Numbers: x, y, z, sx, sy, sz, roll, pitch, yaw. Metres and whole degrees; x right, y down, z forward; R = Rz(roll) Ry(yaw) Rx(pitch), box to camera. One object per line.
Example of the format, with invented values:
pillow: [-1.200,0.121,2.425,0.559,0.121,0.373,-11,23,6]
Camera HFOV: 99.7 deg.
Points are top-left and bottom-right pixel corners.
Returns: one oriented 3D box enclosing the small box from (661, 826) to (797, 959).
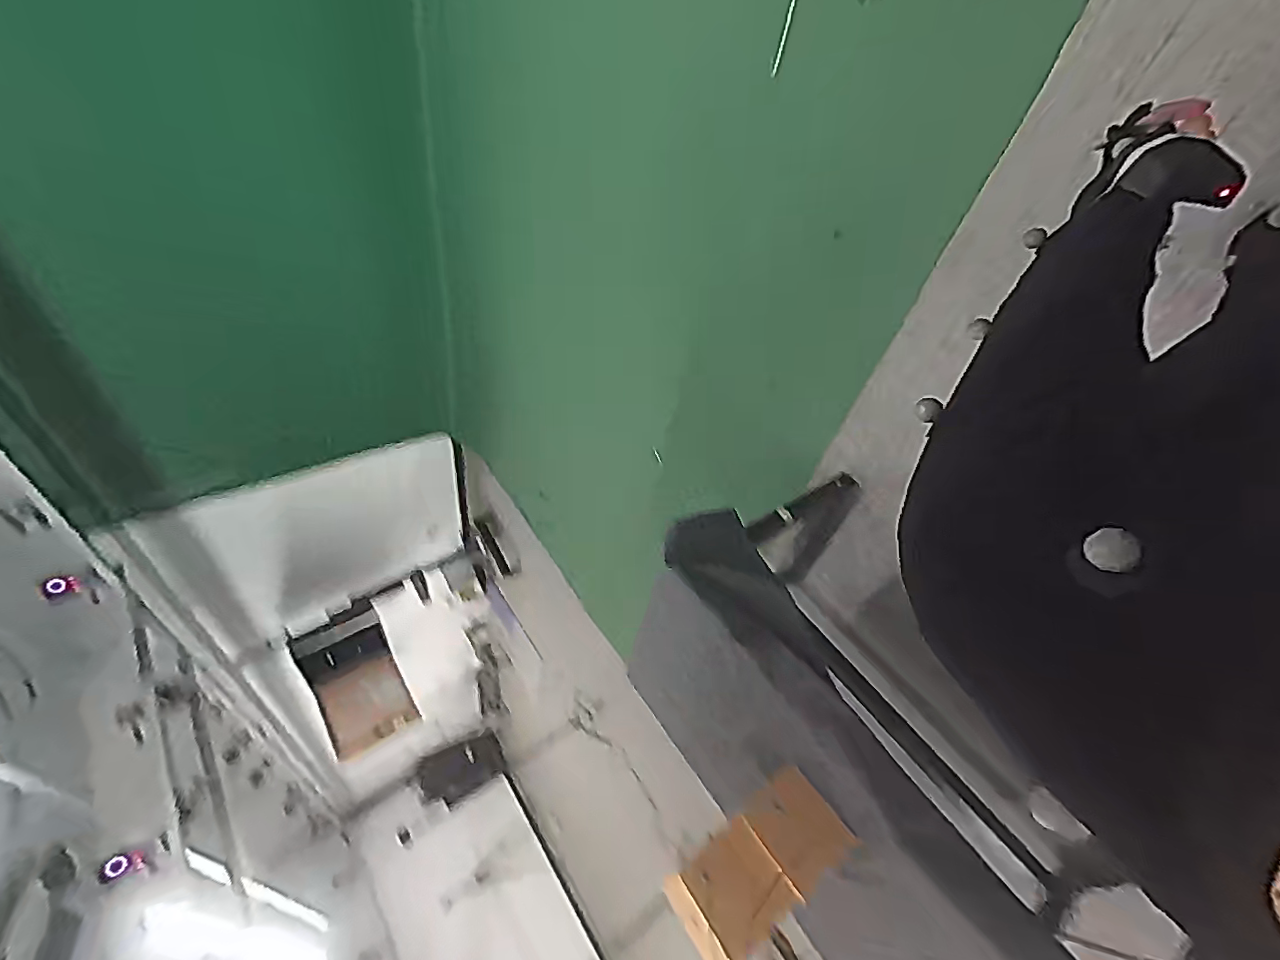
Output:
small box: [0.170,0.819,1.042,0.179,0.176,0.168,48,144,30]
